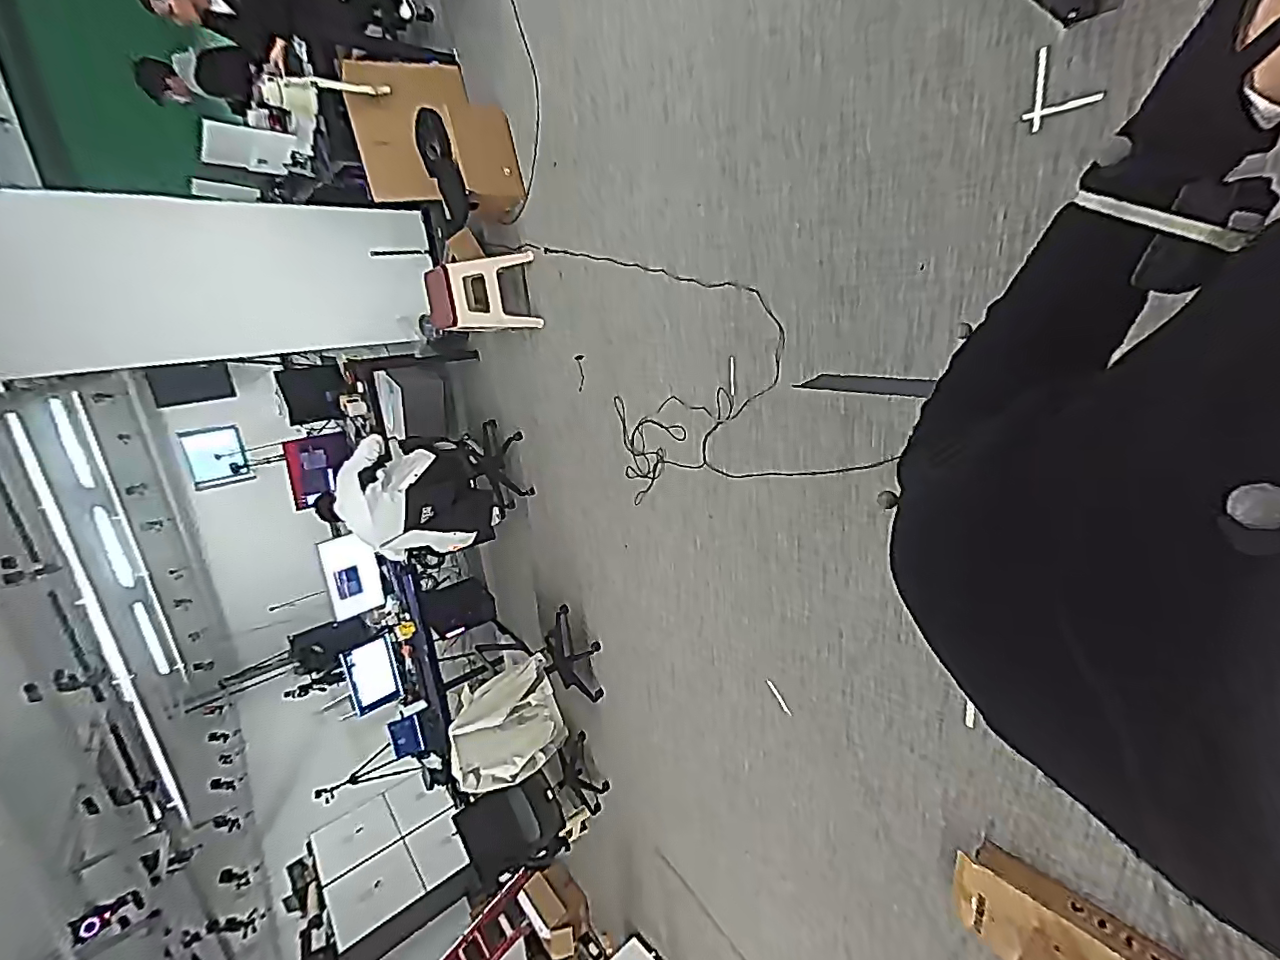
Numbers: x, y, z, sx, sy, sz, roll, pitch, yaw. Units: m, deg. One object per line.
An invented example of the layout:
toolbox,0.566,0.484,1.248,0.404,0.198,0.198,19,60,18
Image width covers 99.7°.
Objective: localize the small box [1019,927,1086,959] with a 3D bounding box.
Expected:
small box,1.108,1.360,1.436,0.168,0.176,0.179,13,115,50
